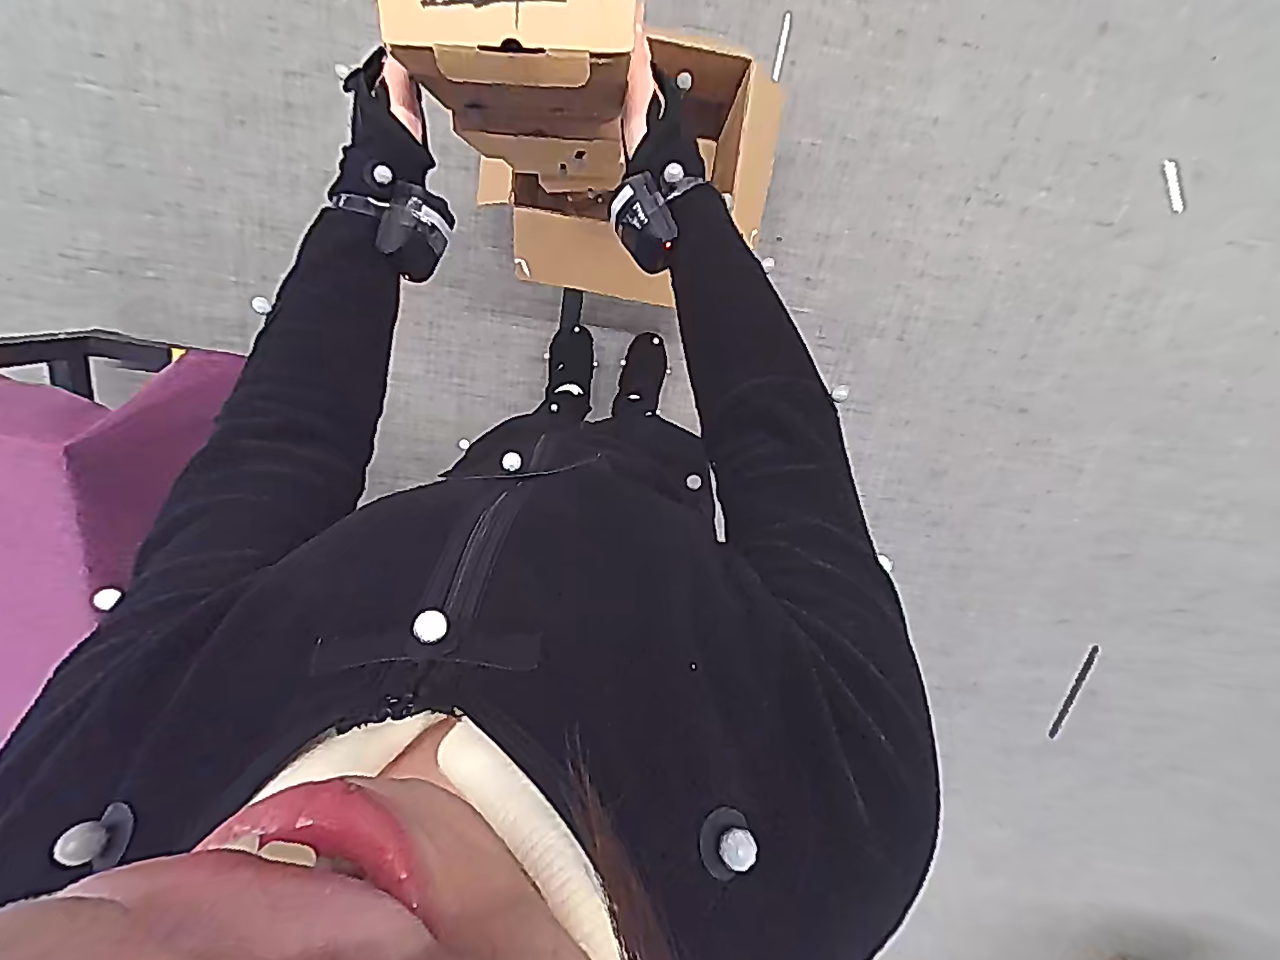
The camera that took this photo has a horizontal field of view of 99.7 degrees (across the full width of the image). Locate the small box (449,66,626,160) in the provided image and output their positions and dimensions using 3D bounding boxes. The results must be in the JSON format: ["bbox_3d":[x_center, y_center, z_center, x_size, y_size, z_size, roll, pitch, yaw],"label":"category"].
[{"bbox_3d":[-0.097,-0.442,0.557,0.168,0.176,0.179,1,113,-6],"label":"small box"}]

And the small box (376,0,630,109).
[{"bbox_3d":[-0.091,-0.395,0.398,0.168,0.176,0.179,-1,112,-5],"label":"small box"}]

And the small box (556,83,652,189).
[{"bbox_3d":[-0.082,-0.654,1.003,0.179,0.176,0.168,-13,113,0],"label":"small box"}]

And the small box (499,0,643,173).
[{"bbox_3d":[-0.091,-0.506,0.708,0.179,0.176,0.168,0,114,-5],"label":"small box"}]
